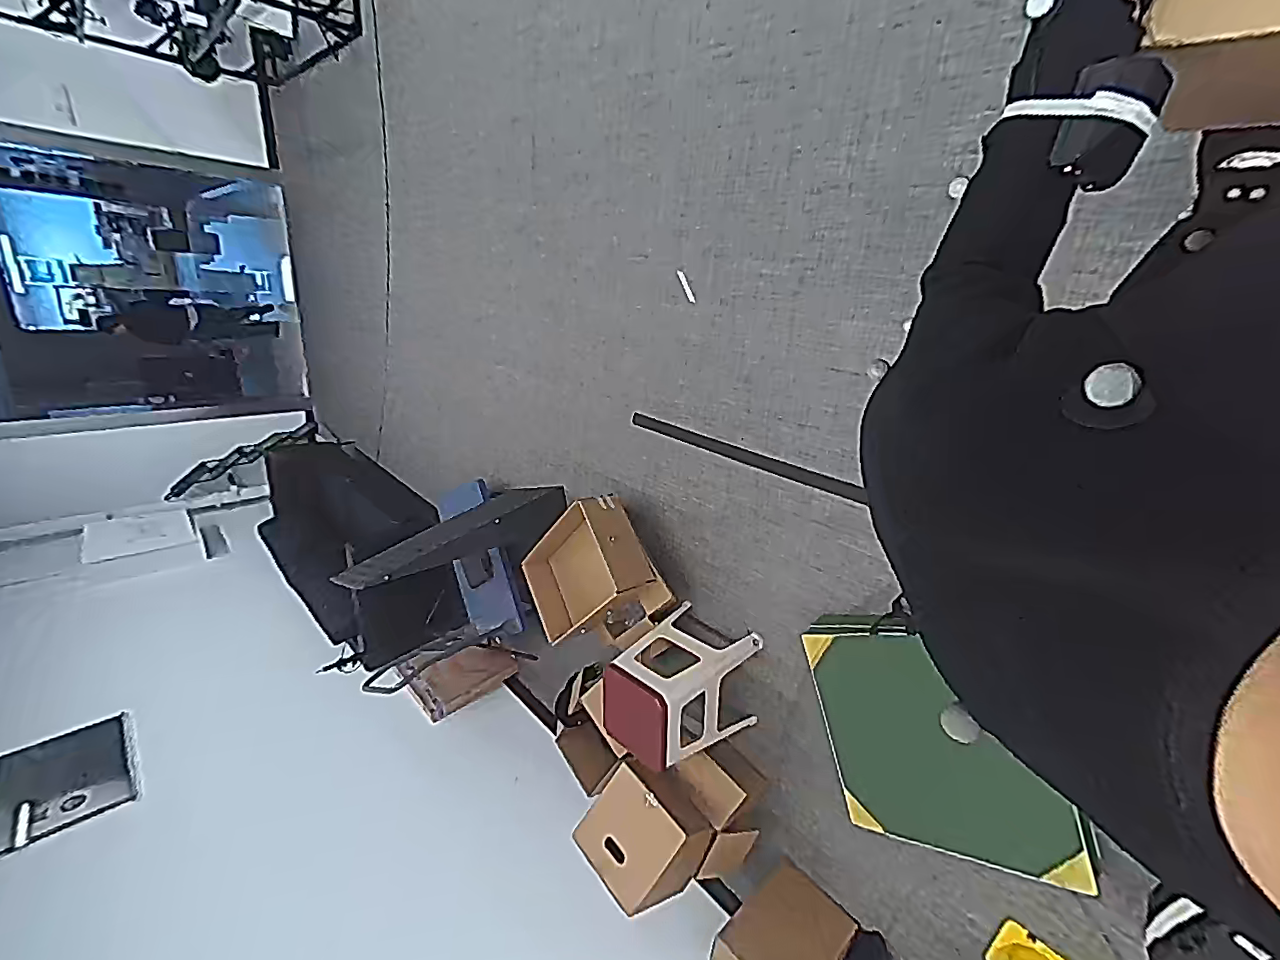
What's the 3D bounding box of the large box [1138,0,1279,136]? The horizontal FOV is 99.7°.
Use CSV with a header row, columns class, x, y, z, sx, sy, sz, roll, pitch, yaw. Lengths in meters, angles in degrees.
class,x,y,z,sx,sy,sz,roll,pitch,yaw
large box,0.593,-0.412,0.293,0.408,0.320,0.320,23,121,39
